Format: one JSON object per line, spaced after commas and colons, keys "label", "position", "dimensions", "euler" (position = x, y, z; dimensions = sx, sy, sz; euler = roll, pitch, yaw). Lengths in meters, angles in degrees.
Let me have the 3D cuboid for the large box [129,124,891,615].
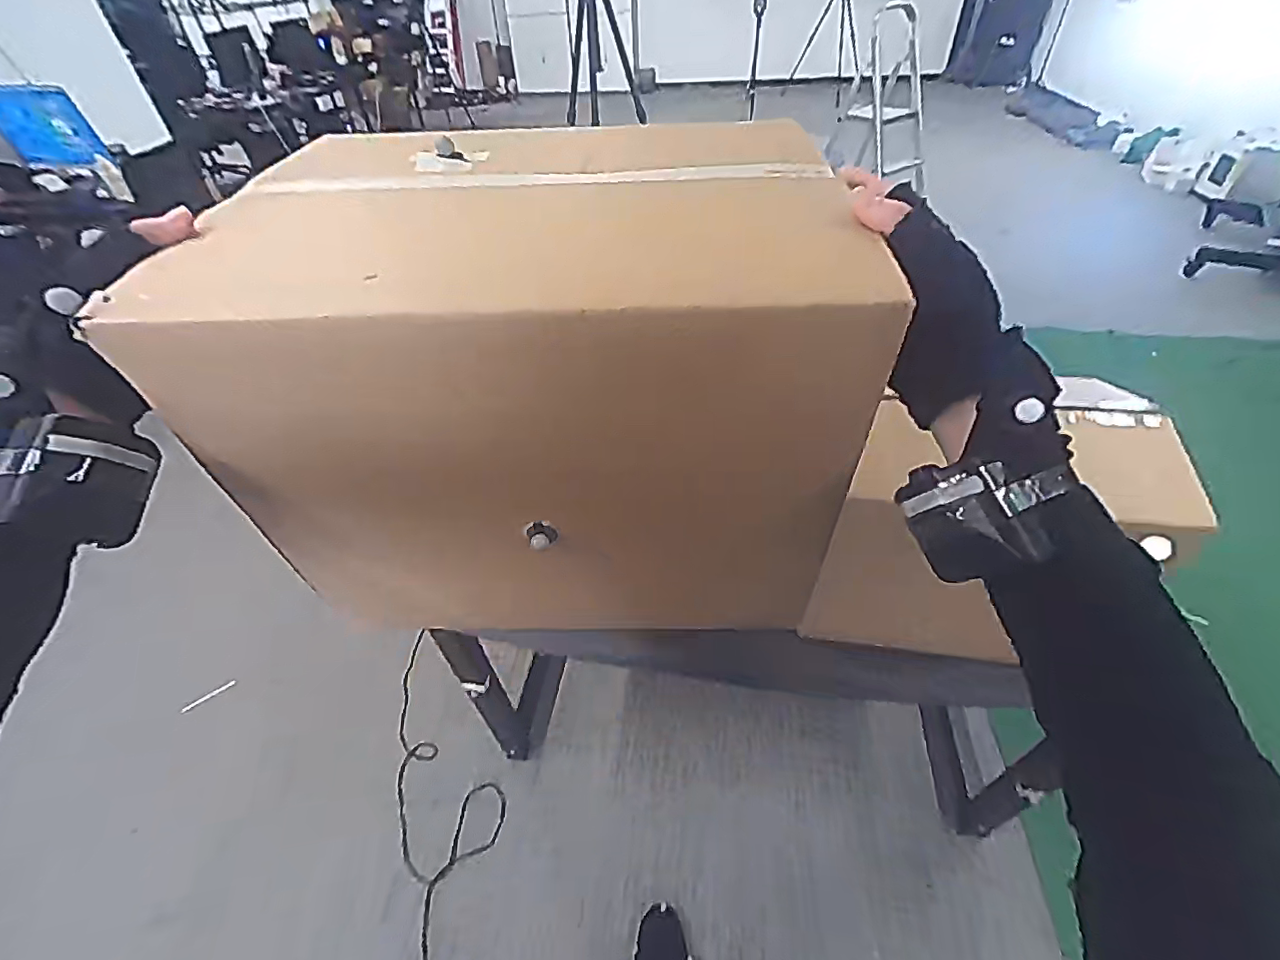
{"label": "large box", "position": [-0.062, -0.091, 0.485], "dimensions": [0.408, 0.320, 0.320], "euler": [-1, 46, 2]}
